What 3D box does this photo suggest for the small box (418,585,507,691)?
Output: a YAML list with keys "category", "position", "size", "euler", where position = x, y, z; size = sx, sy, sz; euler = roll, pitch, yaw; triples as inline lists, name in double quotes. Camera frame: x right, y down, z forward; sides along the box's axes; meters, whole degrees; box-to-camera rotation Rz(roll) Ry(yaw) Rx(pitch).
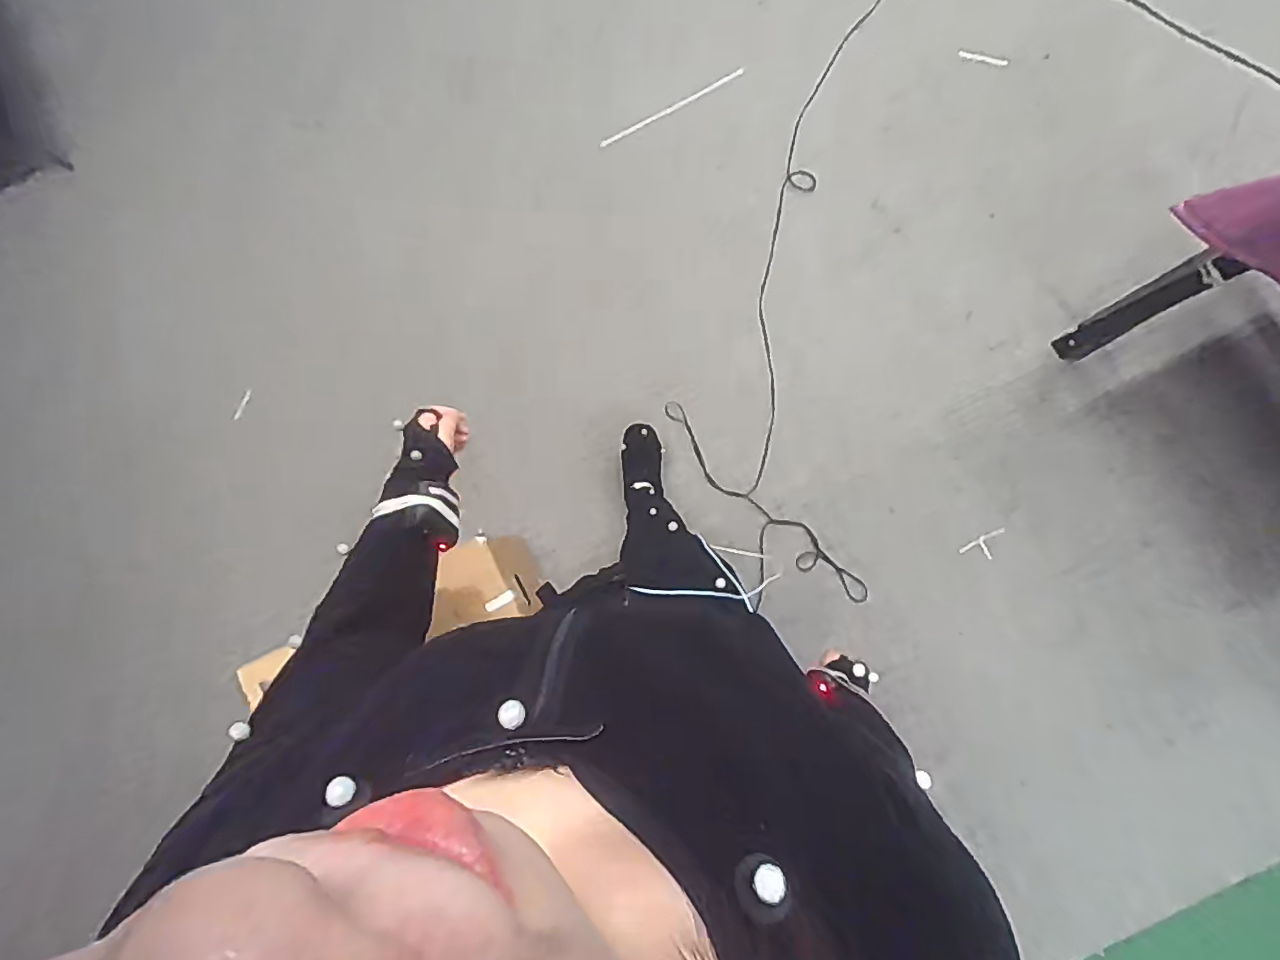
- category: "small box"
  position: [-0.401, 0.329, 1.112]
  size: [0.168, 0.176, 0.179]
  euler: [-30, 85, 0]
